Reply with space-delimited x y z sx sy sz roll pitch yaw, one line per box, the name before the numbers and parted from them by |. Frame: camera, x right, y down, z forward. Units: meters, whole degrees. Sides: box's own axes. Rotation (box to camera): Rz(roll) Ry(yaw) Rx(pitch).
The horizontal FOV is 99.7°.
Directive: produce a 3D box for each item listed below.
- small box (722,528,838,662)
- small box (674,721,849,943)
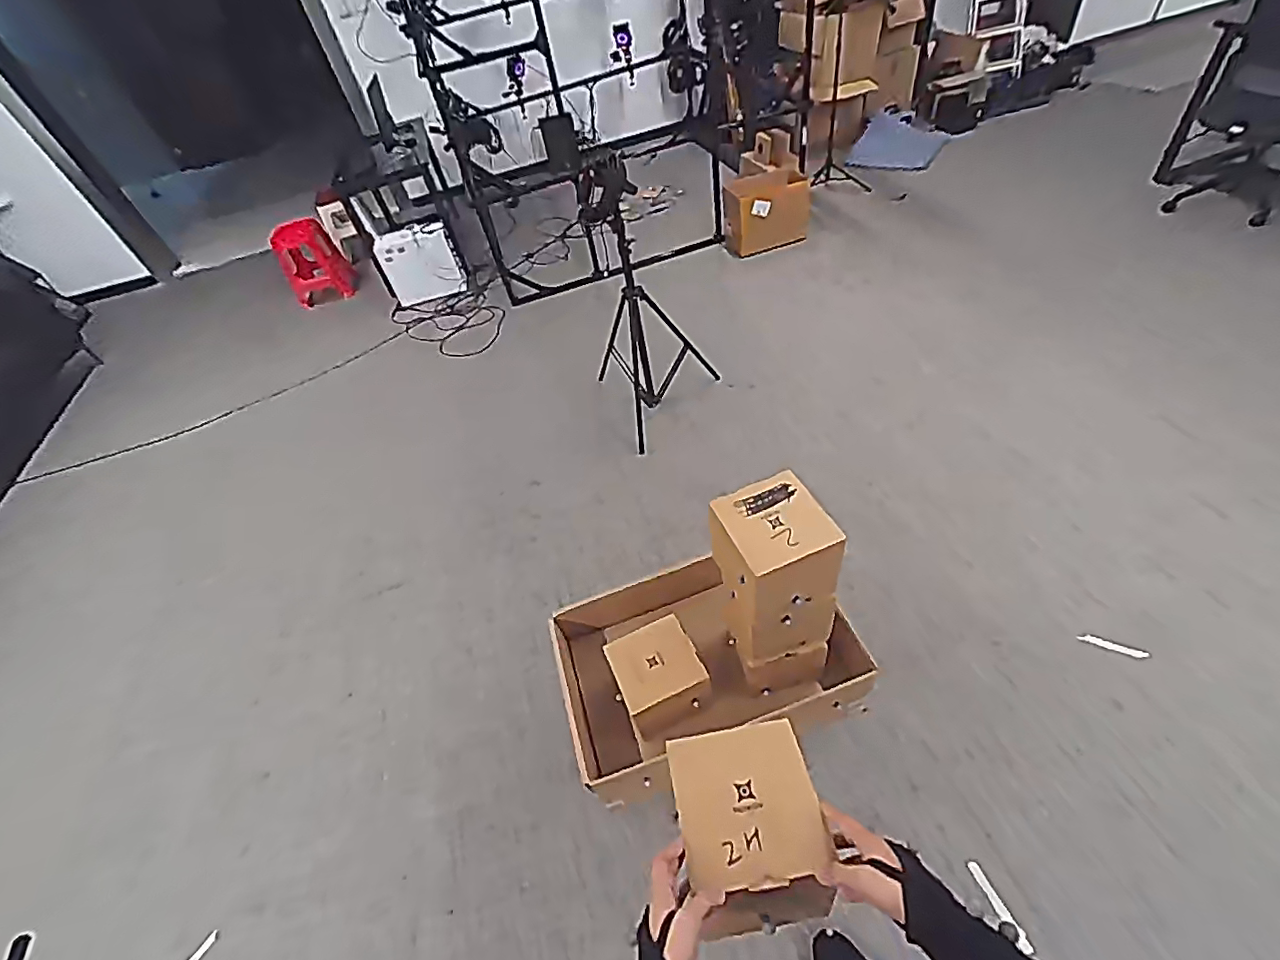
small box | 0.272 0.231 1.082 0.168 0.176 0.179 -17 46 -3
small box | 0.141 0.443 0.686 0.168 0.176 0.179 -11 38 -2
